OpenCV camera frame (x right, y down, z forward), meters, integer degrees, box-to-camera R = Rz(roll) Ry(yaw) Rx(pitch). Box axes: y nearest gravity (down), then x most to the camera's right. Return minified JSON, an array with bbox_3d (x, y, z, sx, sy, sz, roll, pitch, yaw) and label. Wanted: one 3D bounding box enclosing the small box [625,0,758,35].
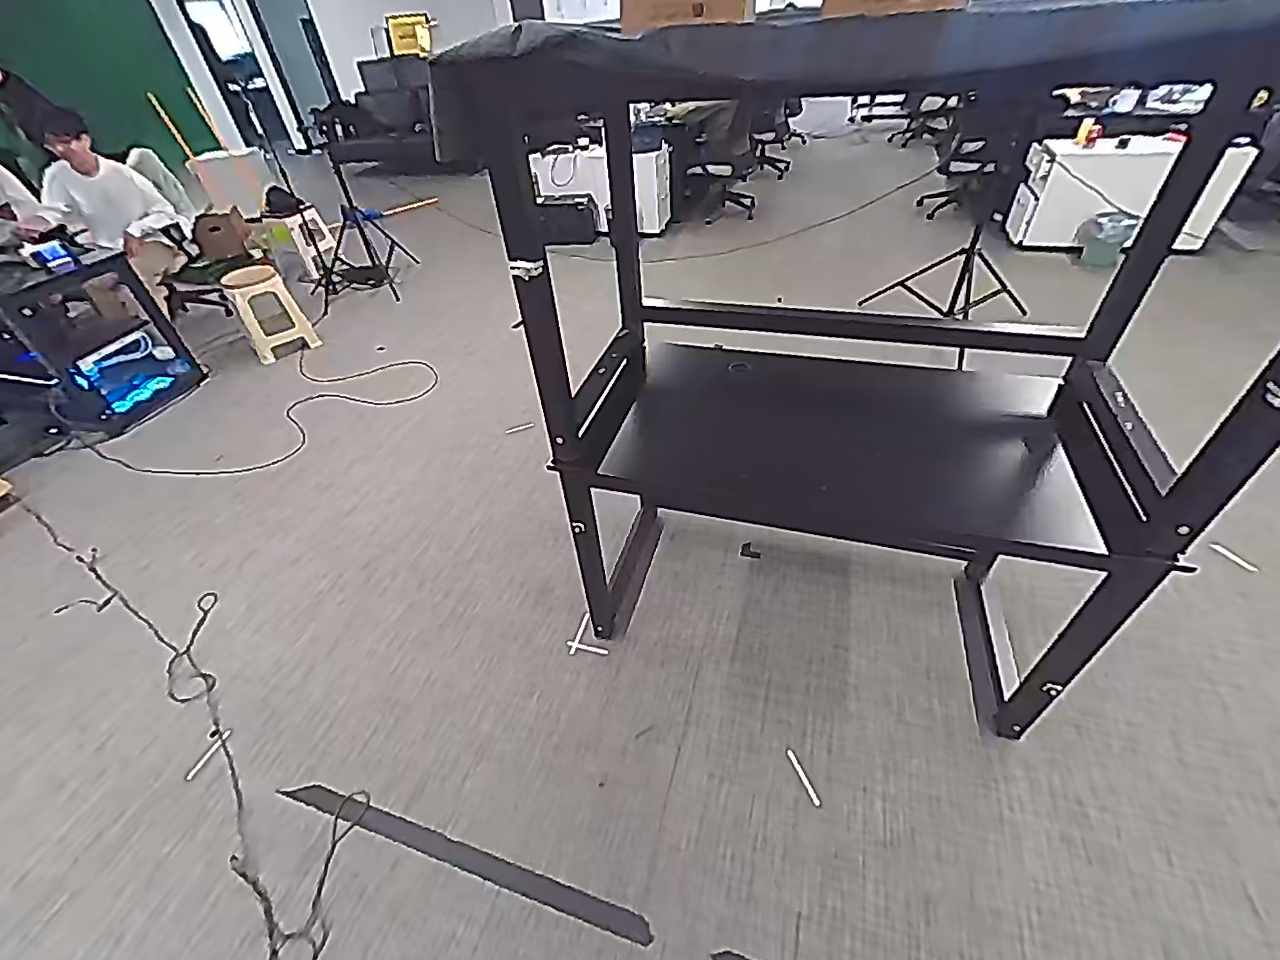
[{"bbox_3d":[0.073,-0.699,0.710,0.168,0.176,0.179,7,42,12],"label":"small box"}]
